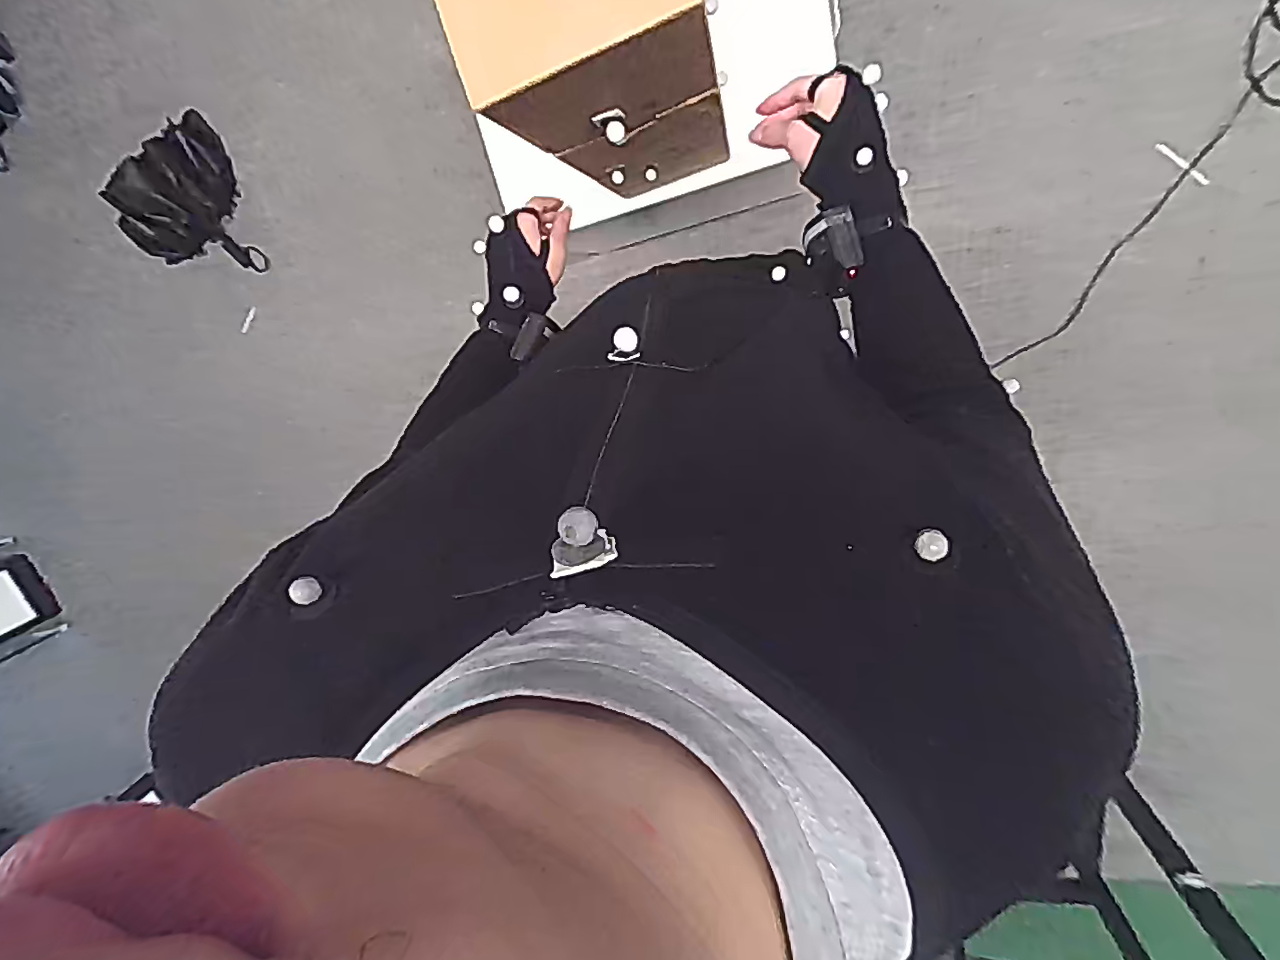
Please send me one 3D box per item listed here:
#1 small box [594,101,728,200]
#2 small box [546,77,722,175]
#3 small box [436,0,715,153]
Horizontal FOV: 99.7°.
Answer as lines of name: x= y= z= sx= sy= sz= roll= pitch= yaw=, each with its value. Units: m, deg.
small box: x=0.012 y=-0.488 z=0.696 sx=0.168 sy=0.176 sz=0.179 roll=-14 pitch=107 yaw=16
small box: x=-0.018 y=-0.431 z=0.544 sx=0.168 sy=0.176 sz=0.179 roll=-14 pitch=105 yaw=15
small box: x=-0.048 y=-0.375 z=0.393 sx=0.168 sy=0.176 sz=0.179 roll=-14 pitch=107 yaw=16
